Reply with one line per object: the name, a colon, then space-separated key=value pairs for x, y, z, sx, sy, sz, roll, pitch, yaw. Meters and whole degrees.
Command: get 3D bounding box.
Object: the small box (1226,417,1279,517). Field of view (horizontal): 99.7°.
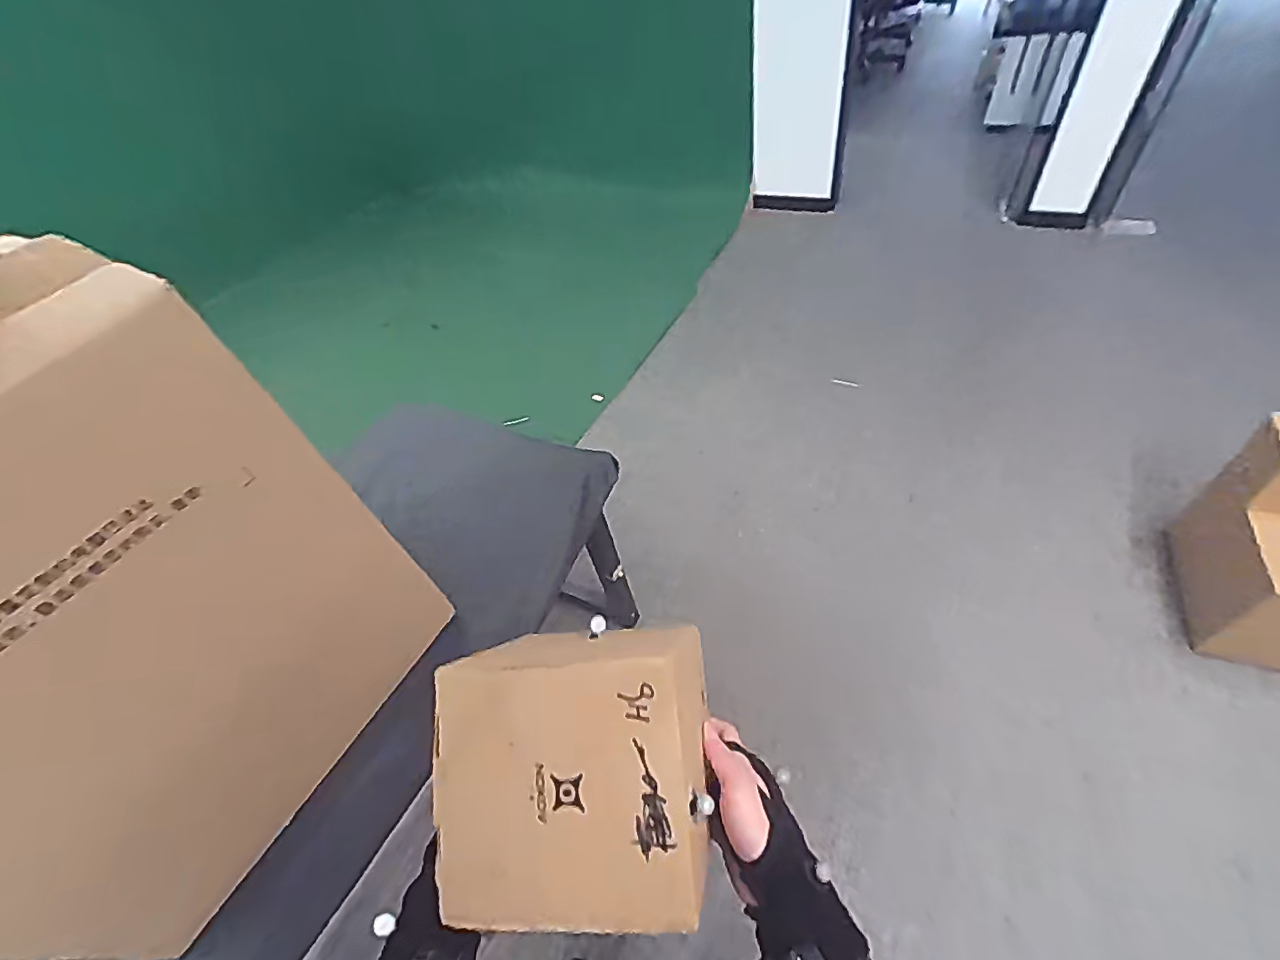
small box: x=1.525 y=-0.021 z=1.244 sx=0.179 sy=0.176 sz=0.168 roll=10 pitch=51 yaw=25
